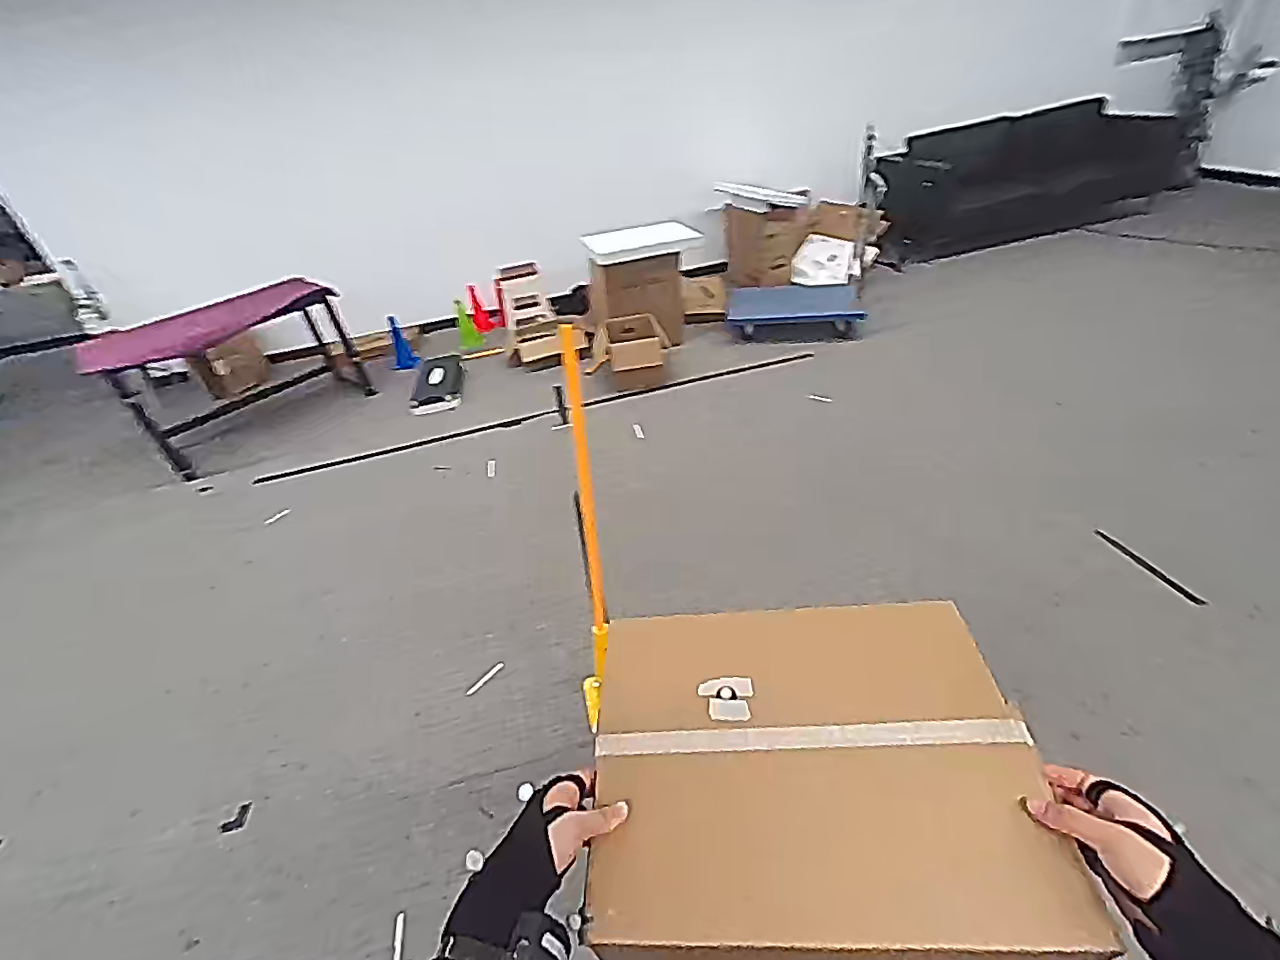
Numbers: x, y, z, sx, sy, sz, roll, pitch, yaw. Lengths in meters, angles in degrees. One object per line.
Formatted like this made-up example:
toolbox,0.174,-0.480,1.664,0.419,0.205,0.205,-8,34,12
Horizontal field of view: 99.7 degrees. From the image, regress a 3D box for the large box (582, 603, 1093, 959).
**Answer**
large box,0.175,0.379,0.633,0.408,0.320,0.320,-7,38,7
